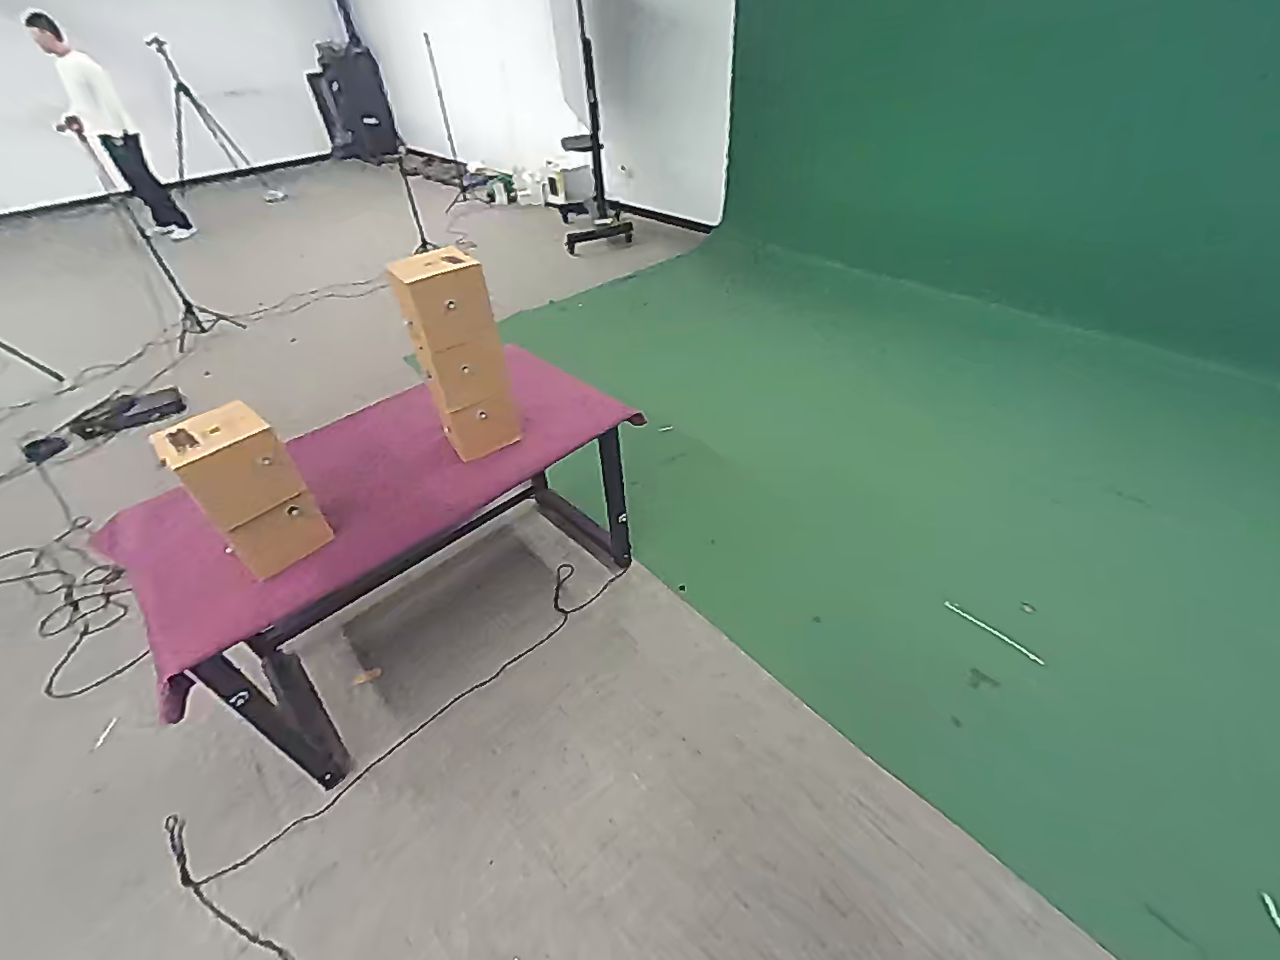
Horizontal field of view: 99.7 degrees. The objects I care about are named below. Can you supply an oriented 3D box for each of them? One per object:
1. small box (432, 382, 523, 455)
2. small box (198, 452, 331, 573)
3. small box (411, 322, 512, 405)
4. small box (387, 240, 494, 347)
[{"bbox_3d":[-0.445,-0.196,1.493,0.179,0.176,0.168,-24,46,-22],"label":"small box"},{"bbox_3d":[-0.833,0.073,1.220,0.168,0.176,0.179,29,52,32],"label":"small box"},{"bbox_3d":[-0.452,-0.317,1.384,0.179,0.176,0.168,-28,48,-23],"label":"small box"},{"bbox_3d":[-0.461,-0.441,1.276,0.179,0.176,0.168,-29,47,-24],"label":"small box"}]
